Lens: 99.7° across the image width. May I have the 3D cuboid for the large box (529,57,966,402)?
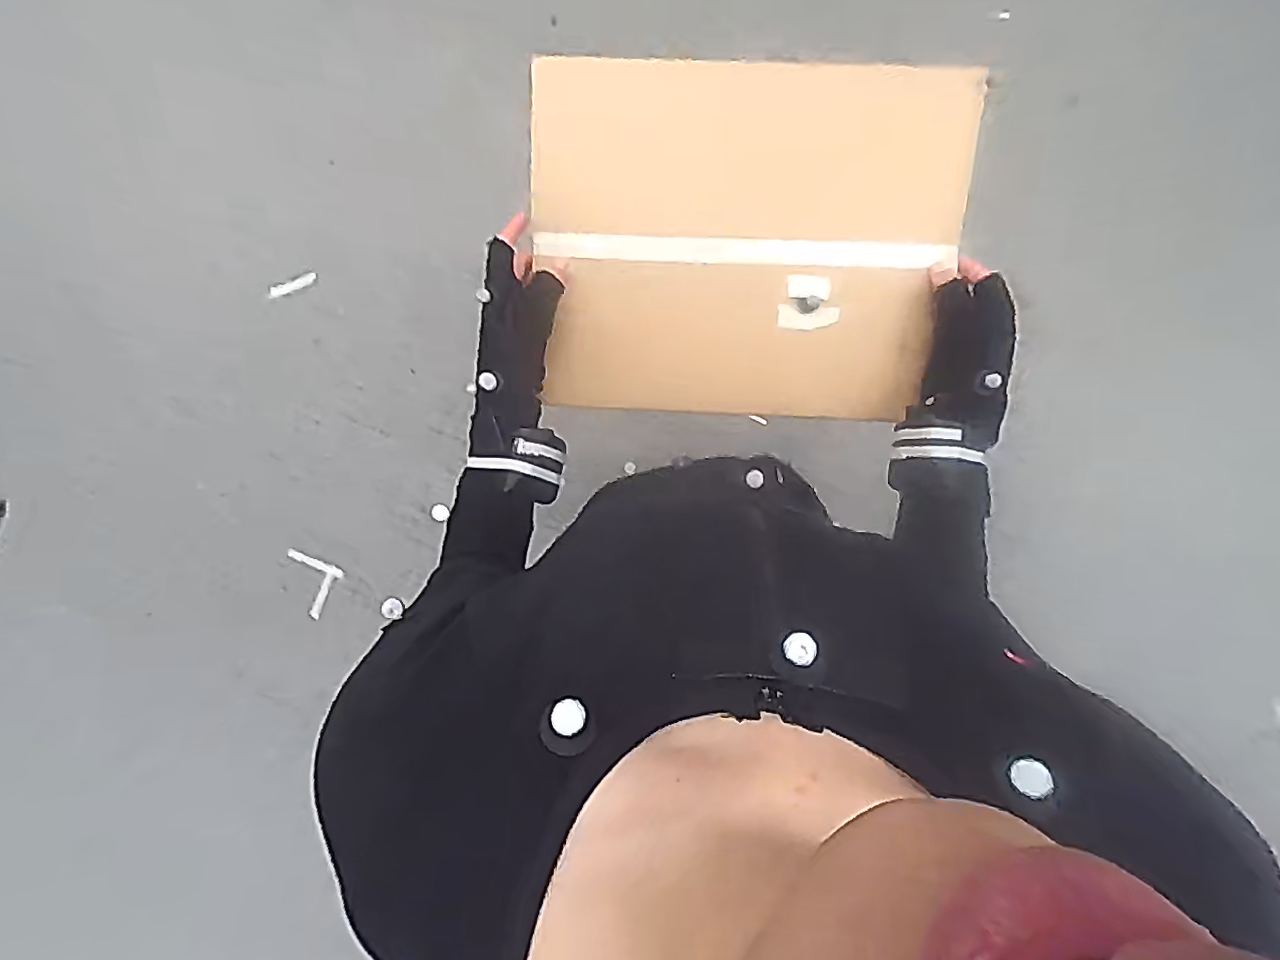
[{"bbox_3d":[0.097,-0.268,0.669,0.408,0.320,0.320,2,105,1],"label":"large box"}]
